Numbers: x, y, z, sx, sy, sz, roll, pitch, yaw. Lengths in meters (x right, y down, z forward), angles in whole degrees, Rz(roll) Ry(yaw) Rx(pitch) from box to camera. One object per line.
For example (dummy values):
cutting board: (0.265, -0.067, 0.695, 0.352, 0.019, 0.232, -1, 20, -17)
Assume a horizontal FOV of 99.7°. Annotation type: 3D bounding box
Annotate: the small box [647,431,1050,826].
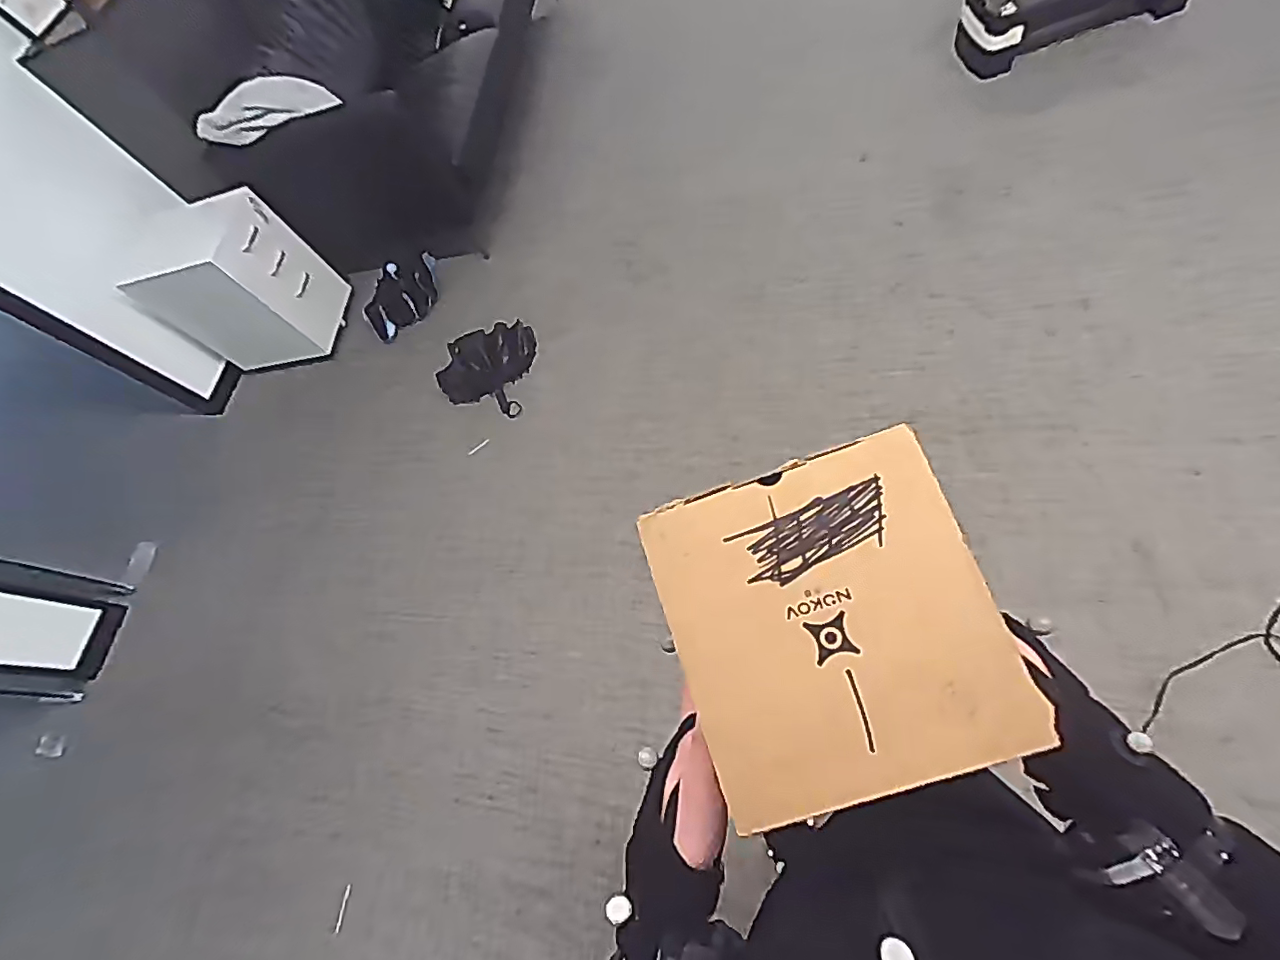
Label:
small box: (0.114, 0.092, 0.371, 0.168, 0.176, 0.179, -19, 76, 5)
